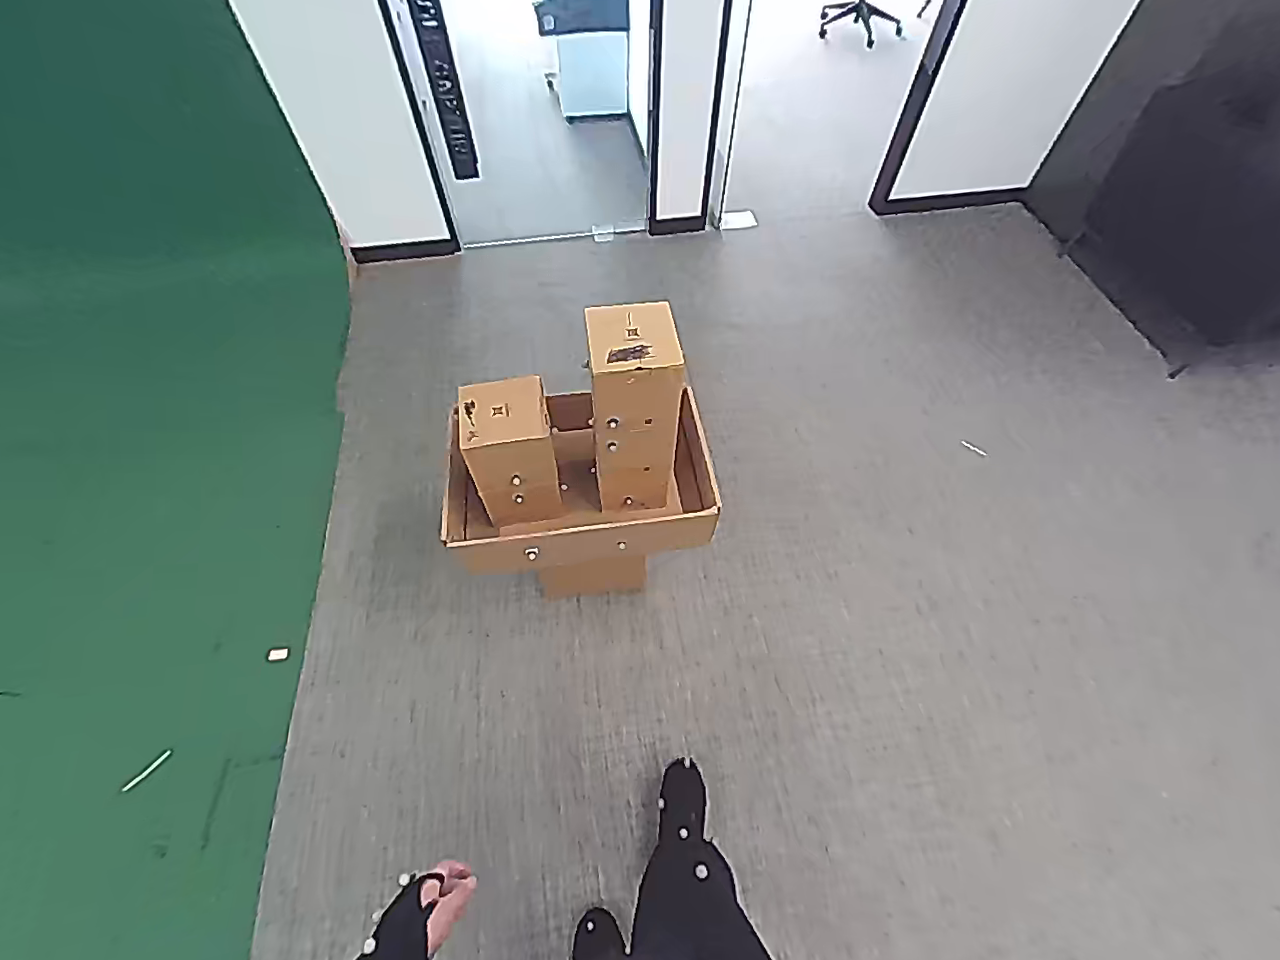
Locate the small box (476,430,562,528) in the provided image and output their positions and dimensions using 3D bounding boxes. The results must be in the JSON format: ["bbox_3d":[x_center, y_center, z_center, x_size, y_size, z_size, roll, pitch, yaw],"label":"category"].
[{"bbox_3d":[-0.287,0.002,1.301,0.179,0.176,0.168,-6,57,-7],"label":"small box"}]

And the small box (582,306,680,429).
[{"bbox_3d":[-0.019,-0.212,1.055,0.168,0.176,0.179,-6,56,-6],"label":"small box"}]

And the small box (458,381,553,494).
[{"bbox_3d":[-0.283,-0.088,1.164,0.179,0.176,0.168,-8,57,-7],"label":"small box"}]
